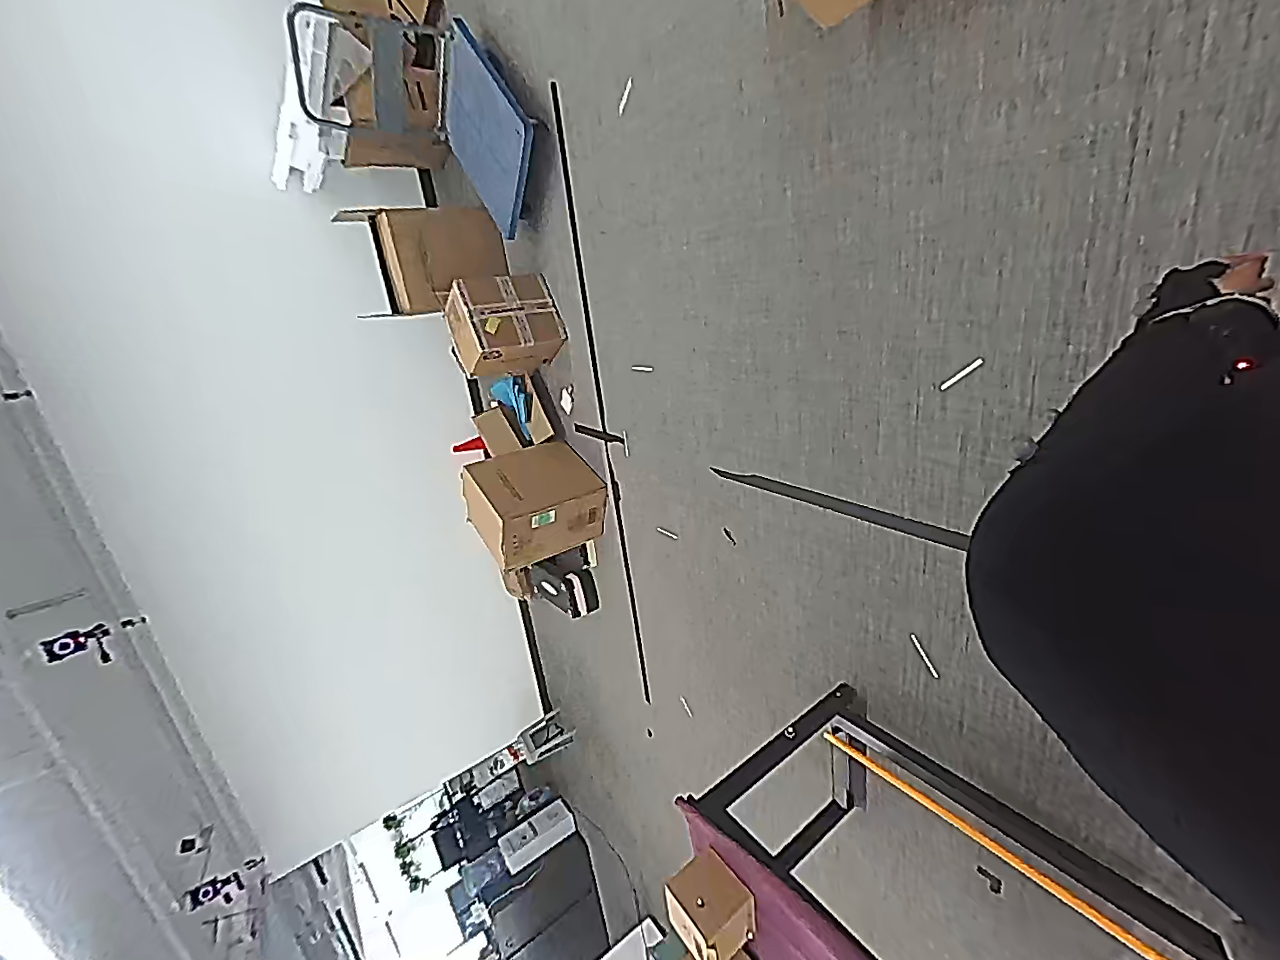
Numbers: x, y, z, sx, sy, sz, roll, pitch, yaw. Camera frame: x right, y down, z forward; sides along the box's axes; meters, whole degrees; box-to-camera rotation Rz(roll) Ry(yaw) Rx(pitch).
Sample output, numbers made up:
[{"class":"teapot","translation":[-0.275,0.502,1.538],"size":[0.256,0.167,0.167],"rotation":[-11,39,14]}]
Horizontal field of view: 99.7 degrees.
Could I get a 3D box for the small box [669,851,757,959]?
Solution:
[{"class":"small box","translation":[0.204,1.169,1.468],"size":[0.179,0.176,0.168],"rotation":[23,127,52]}]
